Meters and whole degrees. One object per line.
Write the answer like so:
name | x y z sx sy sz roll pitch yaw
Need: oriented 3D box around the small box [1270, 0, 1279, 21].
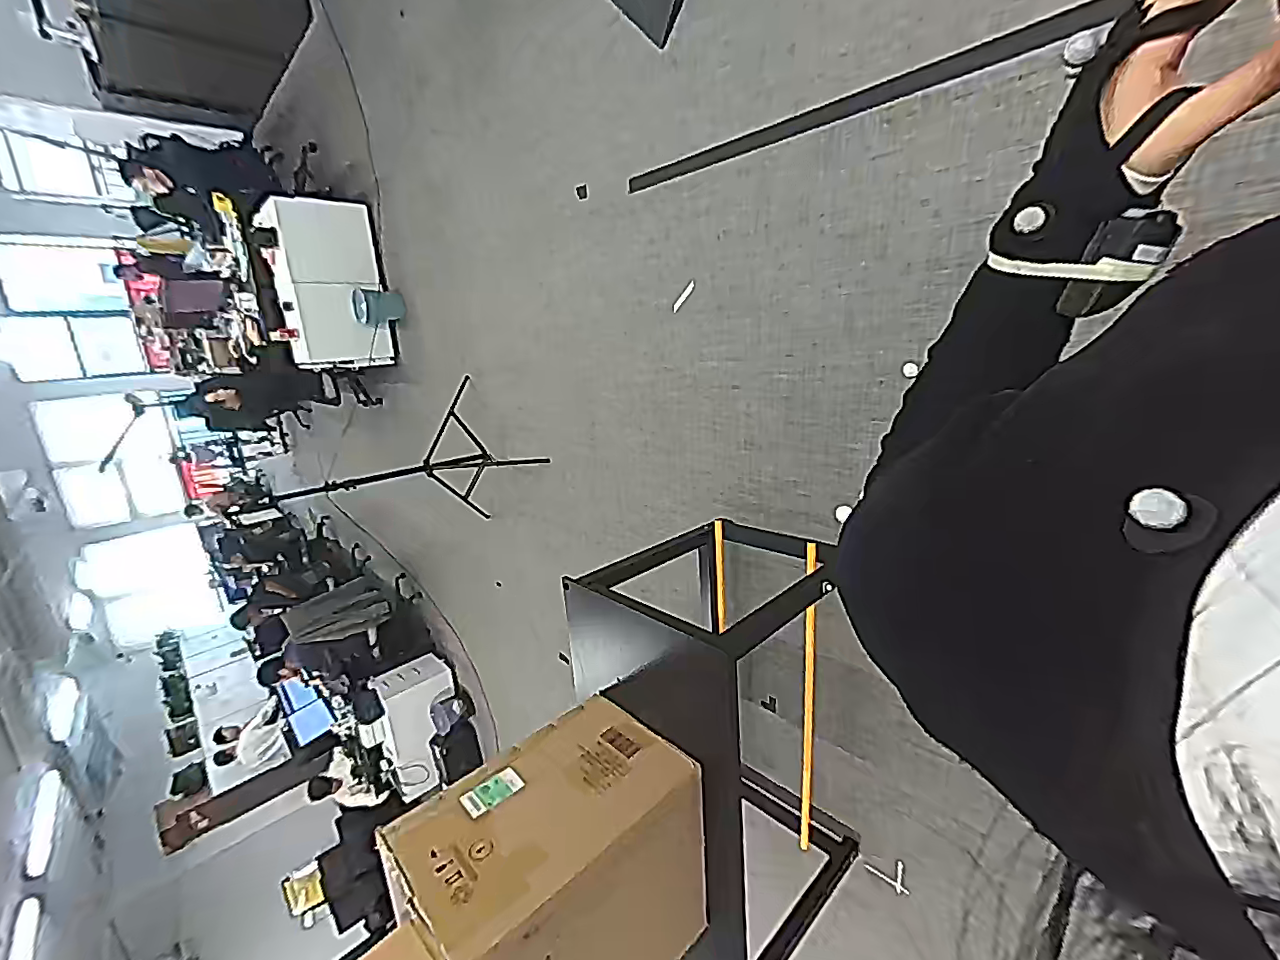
small box | 0.332 -0.293 0.170 0.179 0.176 0.168 -2 122 49

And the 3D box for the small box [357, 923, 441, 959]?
small box | -0.430 0.949 0.959 0.179 0.176 0.168 8 111 45
